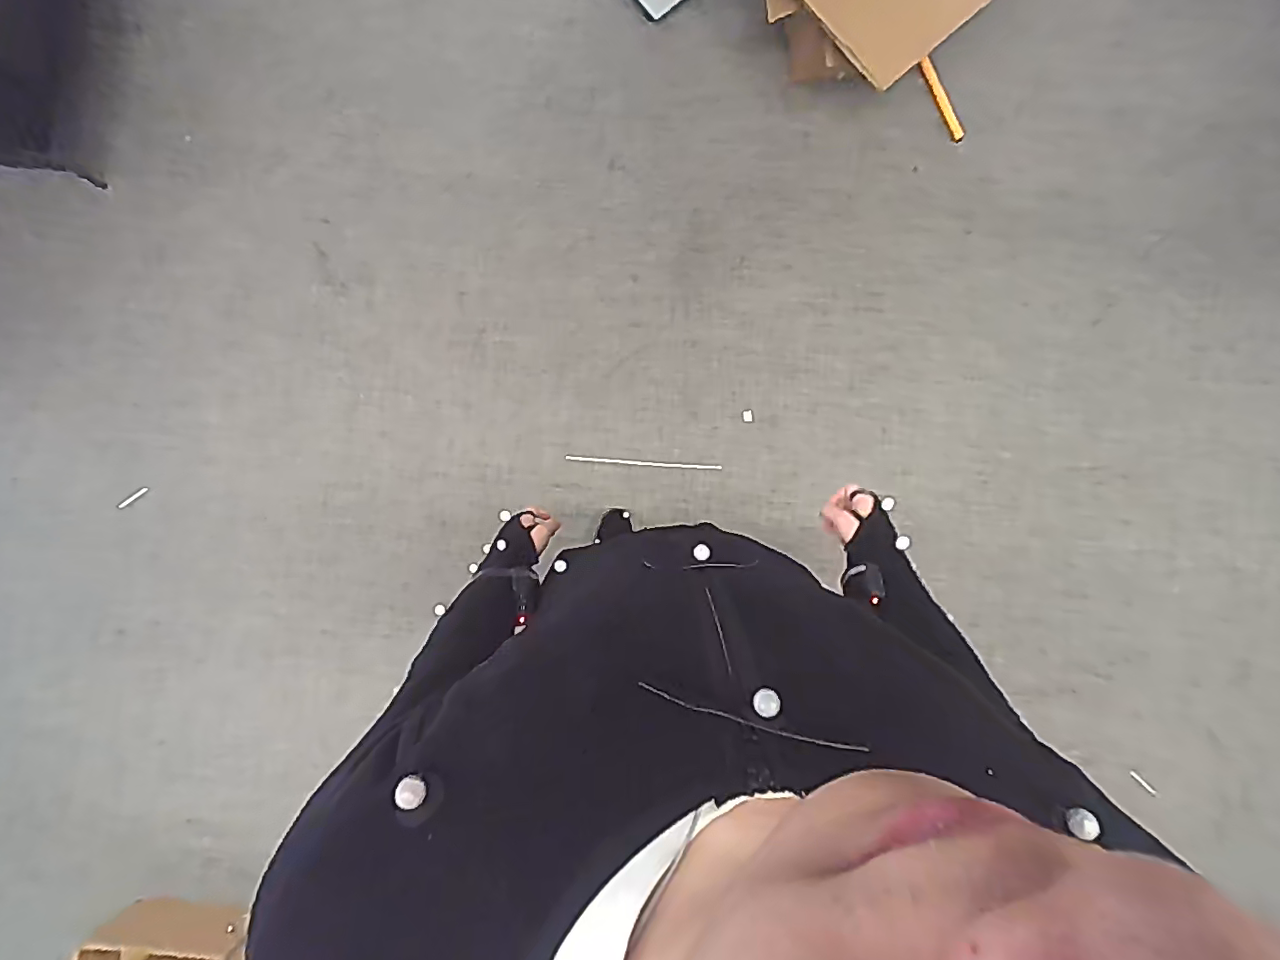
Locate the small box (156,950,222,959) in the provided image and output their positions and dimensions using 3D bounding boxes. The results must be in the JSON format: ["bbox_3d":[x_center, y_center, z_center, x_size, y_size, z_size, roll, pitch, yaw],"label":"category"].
[{"bbox_3d":[-1.252,1.388,1.422,0.179,0.176,0.168,4,86,0],"label":"small box"}]
